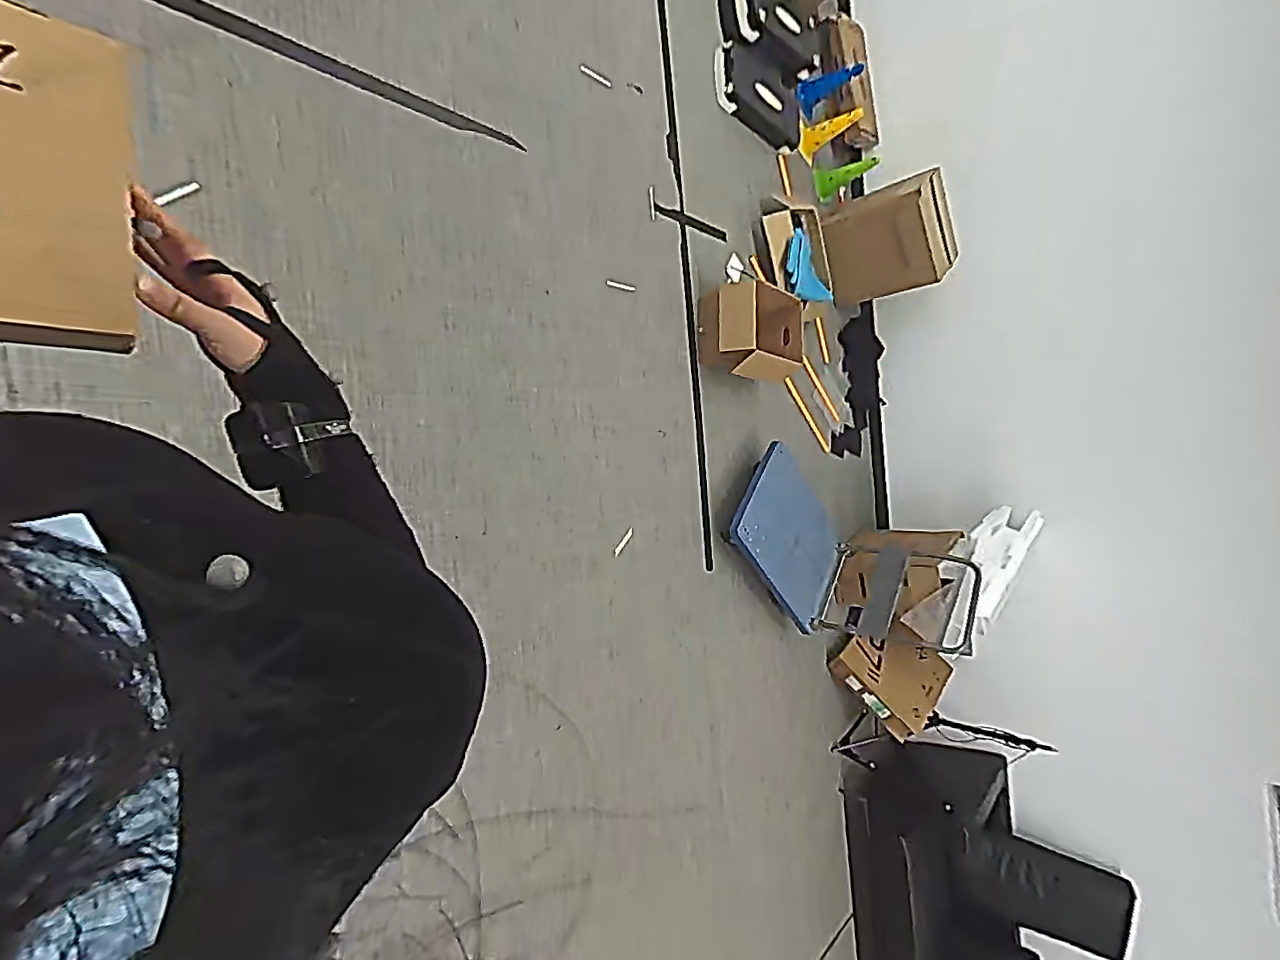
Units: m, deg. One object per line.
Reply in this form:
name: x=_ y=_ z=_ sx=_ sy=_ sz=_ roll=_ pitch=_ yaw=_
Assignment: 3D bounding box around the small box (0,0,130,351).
small box: x=-0.427 y=-0.180 z=0.331 sx=0.168 sy=0.176 sz=0.179 roll=-2 pitch=97 yaw=-46
